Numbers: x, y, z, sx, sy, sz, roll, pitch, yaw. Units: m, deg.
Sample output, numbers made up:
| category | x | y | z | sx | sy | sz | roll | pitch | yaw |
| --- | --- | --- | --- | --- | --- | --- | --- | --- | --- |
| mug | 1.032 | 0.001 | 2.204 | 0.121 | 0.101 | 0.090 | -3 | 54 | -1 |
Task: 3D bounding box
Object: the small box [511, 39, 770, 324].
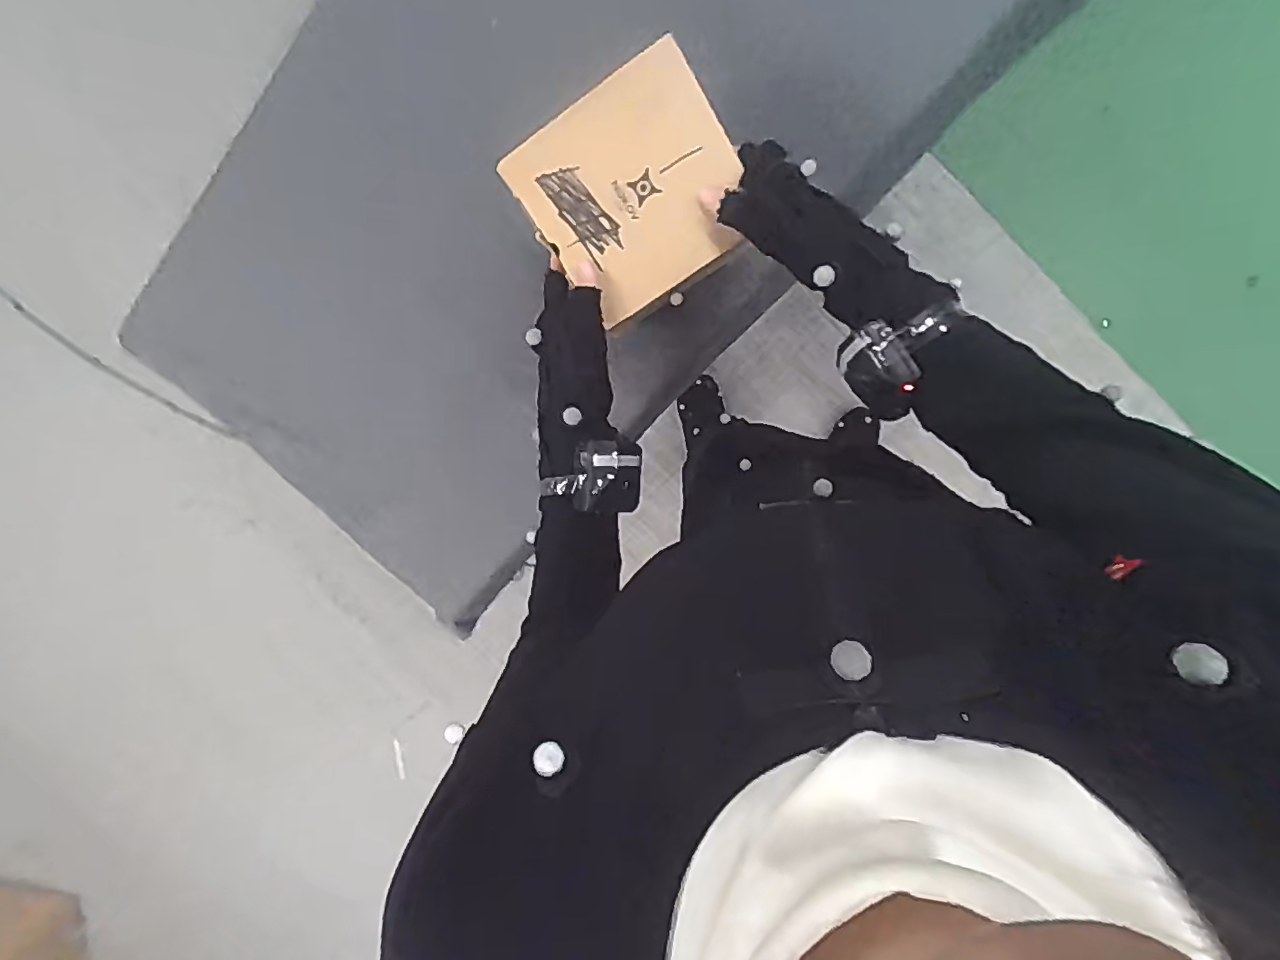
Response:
| category | x | y | z | sx | sy | sz | roll | pitch | yaw |
| --- | --- | --- | --- | --- | --- | --- | --- | --- | --- |
| small box | 0.004 | -0.271 | 0.546 | 0.179 | 0.176 | 0.168 | -30 | 103 | 8 |
